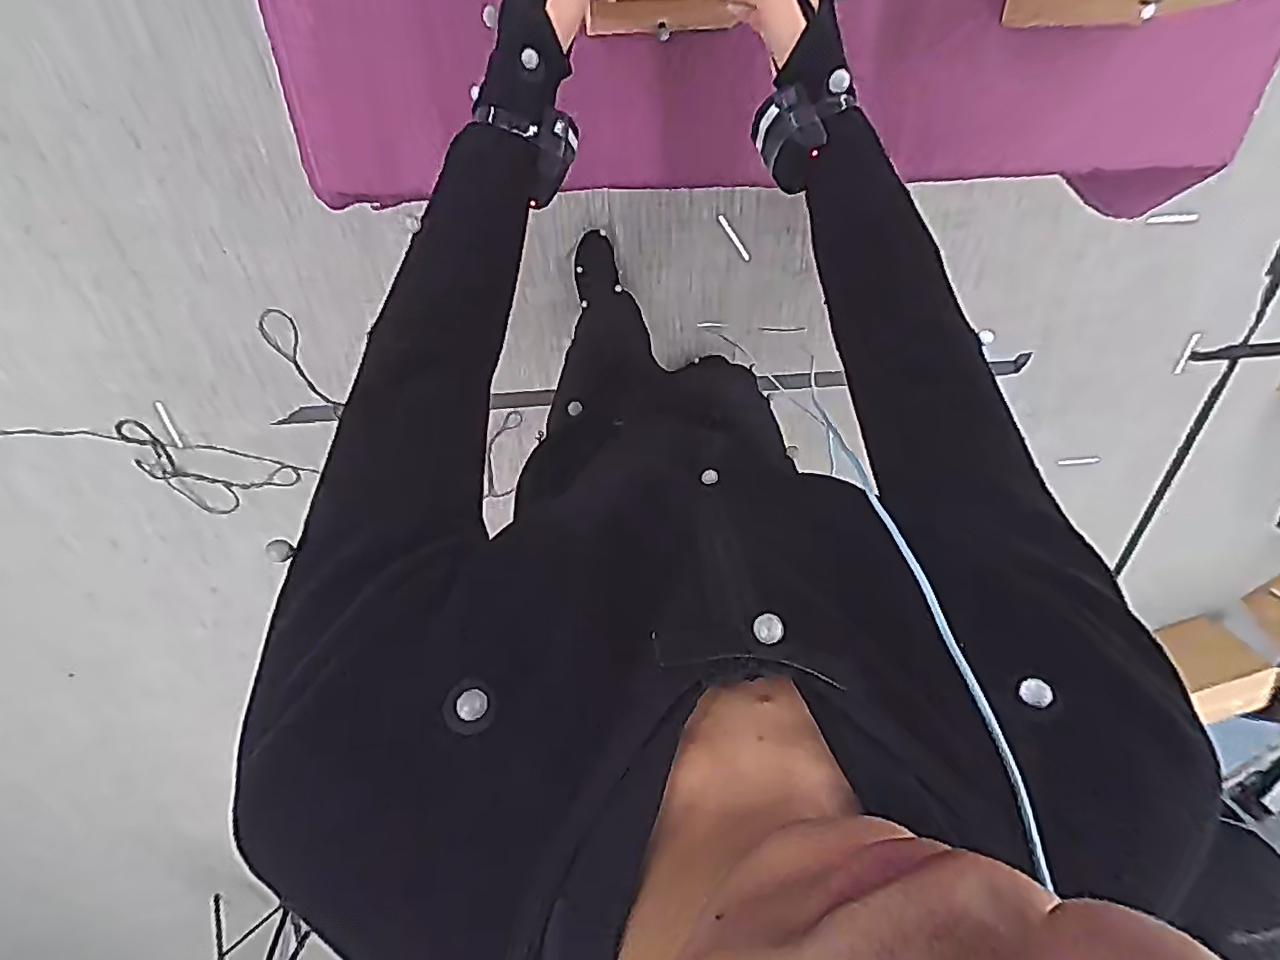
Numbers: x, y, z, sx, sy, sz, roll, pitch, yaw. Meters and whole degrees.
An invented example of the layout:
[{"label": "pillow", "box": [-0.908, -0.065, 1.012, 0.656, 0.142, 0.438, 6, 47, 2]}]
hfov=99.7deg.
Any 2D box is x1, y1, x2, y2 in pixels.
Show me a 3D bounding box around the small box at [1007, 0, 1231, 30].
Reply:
[{"label": "small box", "box": [0.517, -0.570, 0.539, 0.179, 0.176, 0.168, -6, 122, -5]}]
